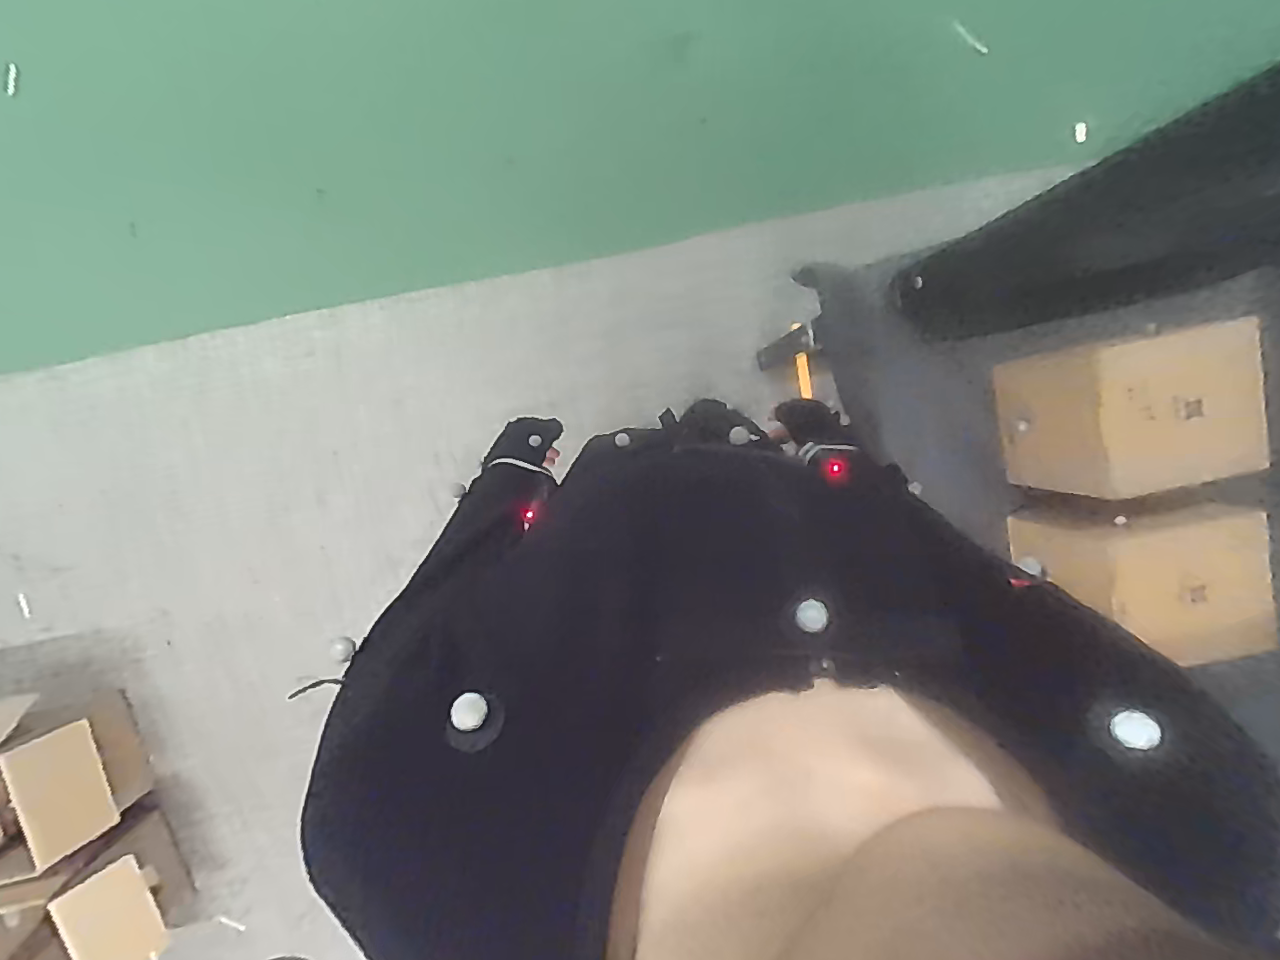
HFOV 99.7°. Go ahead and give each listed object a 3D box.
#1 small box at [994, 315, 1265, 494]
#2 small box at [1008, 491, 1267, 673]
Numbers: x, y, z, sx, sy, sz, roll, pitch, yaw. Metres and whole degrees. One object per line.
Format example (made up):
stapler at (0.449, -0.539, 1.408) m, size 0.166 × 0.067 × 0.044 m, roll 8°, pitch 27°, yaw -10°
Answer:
small box at (0.577, -0.089, 0.658) m, size 0.179 × 0.176 × 0.168 m, roll -12°, pitch 96°, yaw 0°
small box at (0.613, 0.114, 0.684) m, size 0.179 × 0.176 × 0.168 m, roll -12°, pitch 97°, yaw 0°
